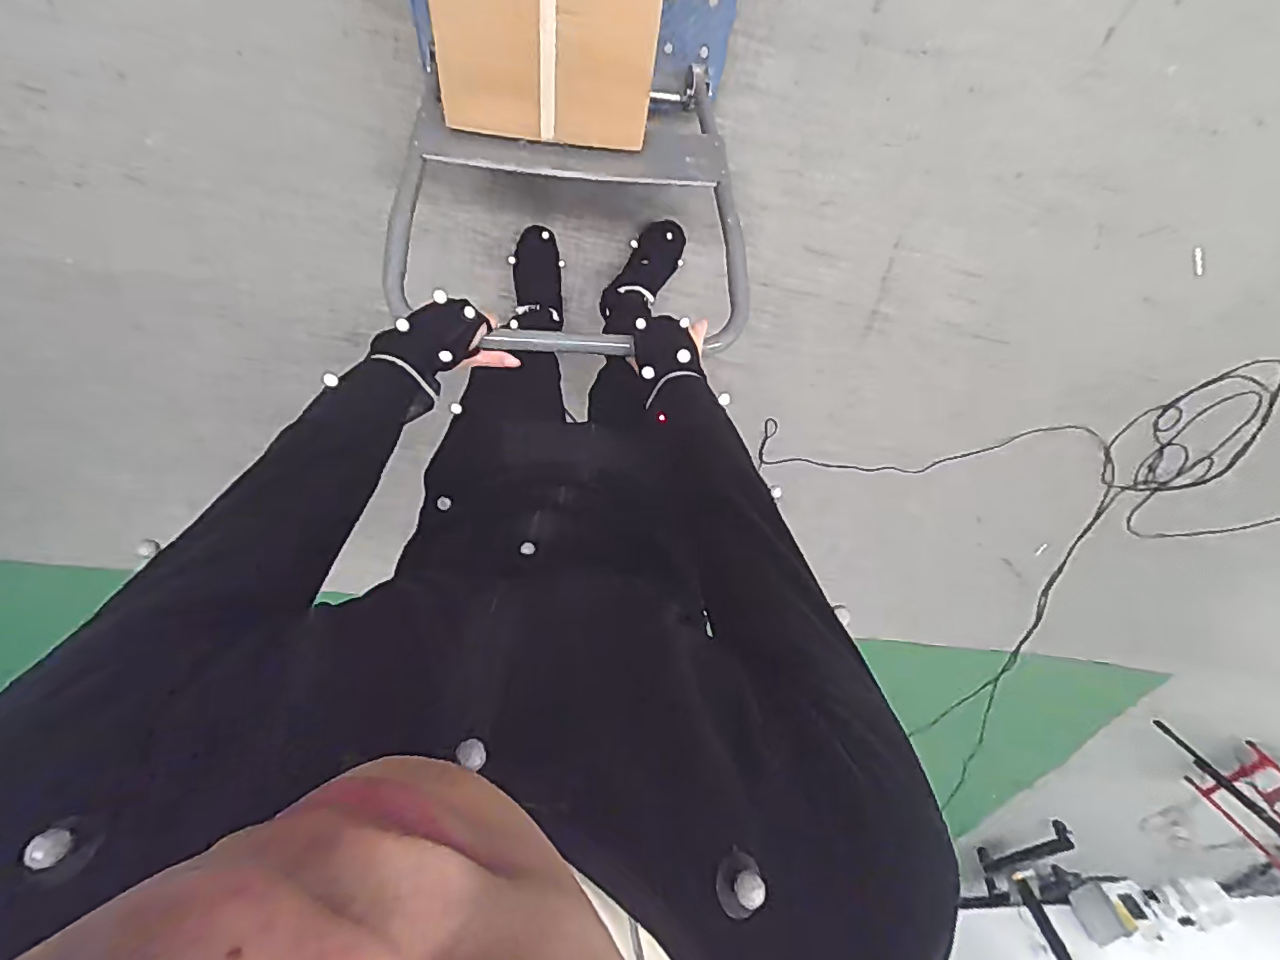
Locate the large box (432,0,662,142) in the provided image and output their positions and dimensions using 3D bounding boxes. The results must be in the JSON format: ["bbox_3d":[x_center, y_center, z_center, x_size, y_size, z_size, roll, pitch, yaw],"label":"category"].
[{"bbox_3d":[-0.129,-0.791,0.791,0.320,0.320,0.408,1,146,-9],"label":"large box"}]
